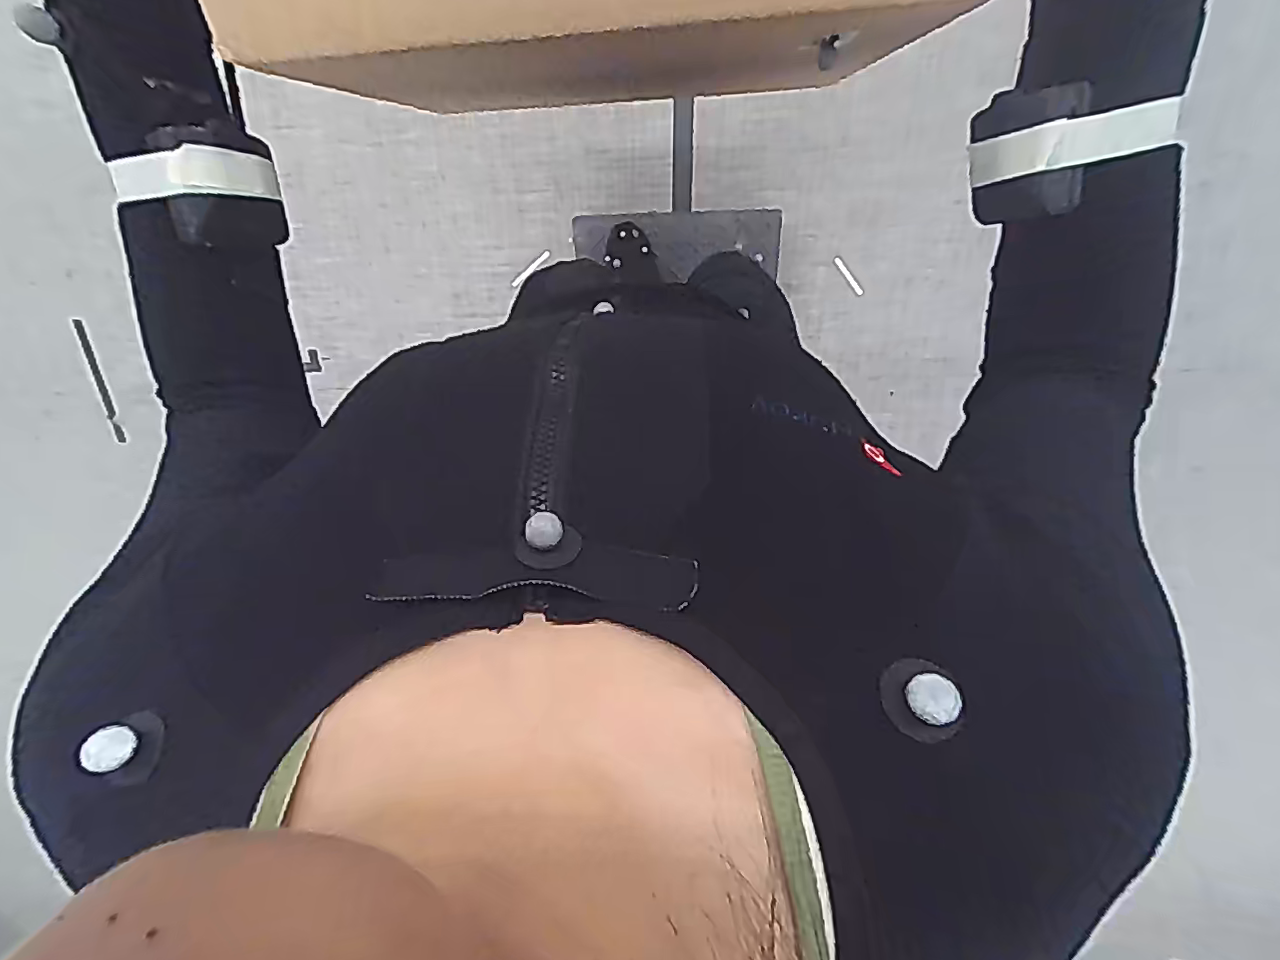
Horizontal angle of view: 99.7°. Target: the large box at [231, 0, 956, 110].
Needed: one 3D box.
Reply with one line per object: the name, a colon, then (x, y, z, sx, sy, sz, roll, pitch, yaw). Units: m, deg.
large box: (-0.024, -0.445, 0.342, 0.408, 0.320, 0.320, -2, 119, 4)
